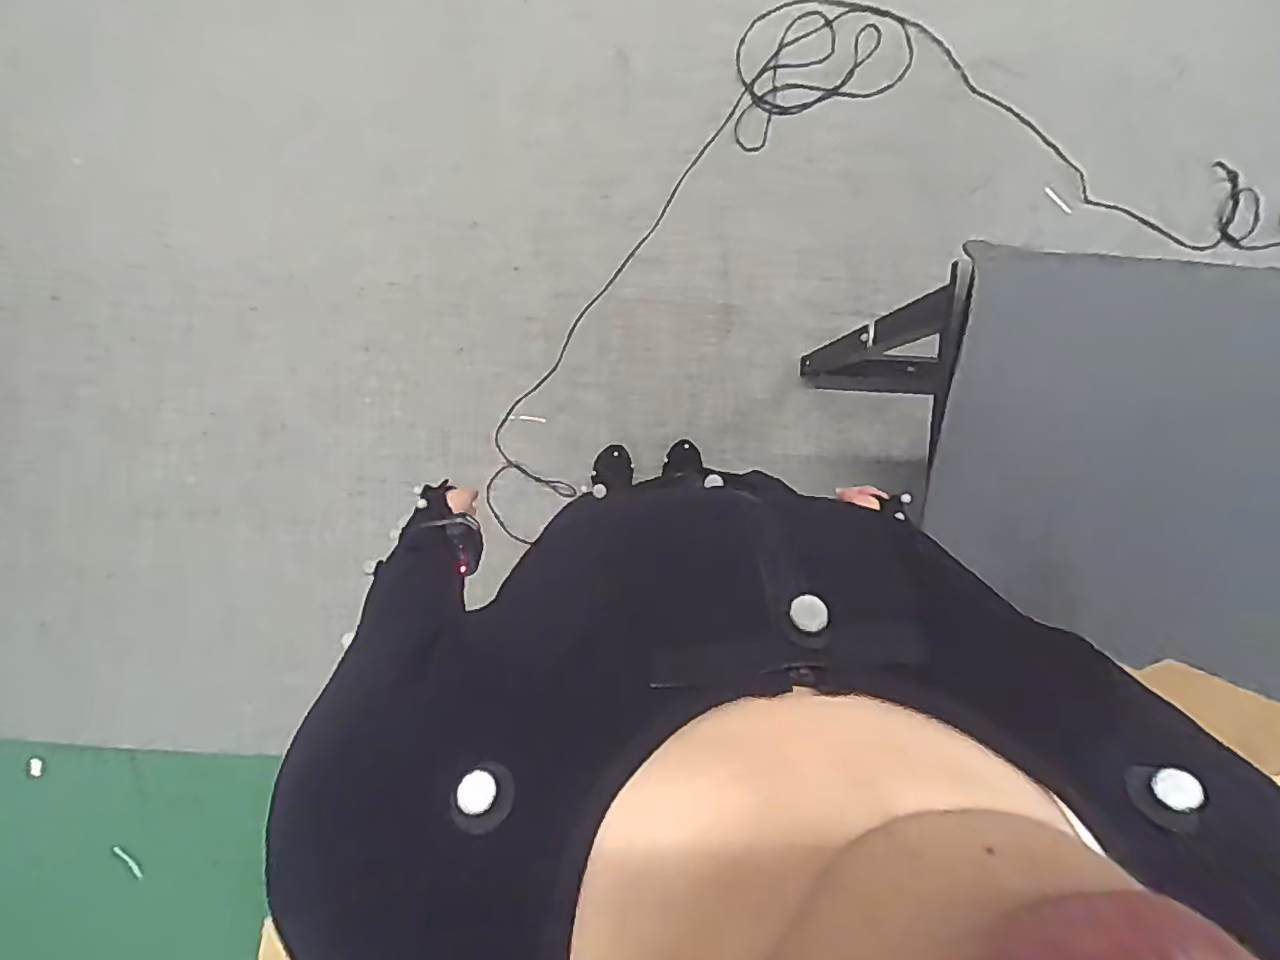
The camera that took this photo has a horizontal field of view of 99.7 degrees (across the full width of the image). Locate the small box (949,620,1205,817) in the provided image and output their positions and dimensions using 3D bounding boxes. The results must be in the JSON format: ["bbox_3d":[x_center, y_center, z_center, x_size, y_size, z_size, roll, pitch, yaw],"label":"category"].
[{"bbox_3d":[0.553,0.299,0.708,0.179,0.176,0.168,12,93,-4],"label":"small box"}]
